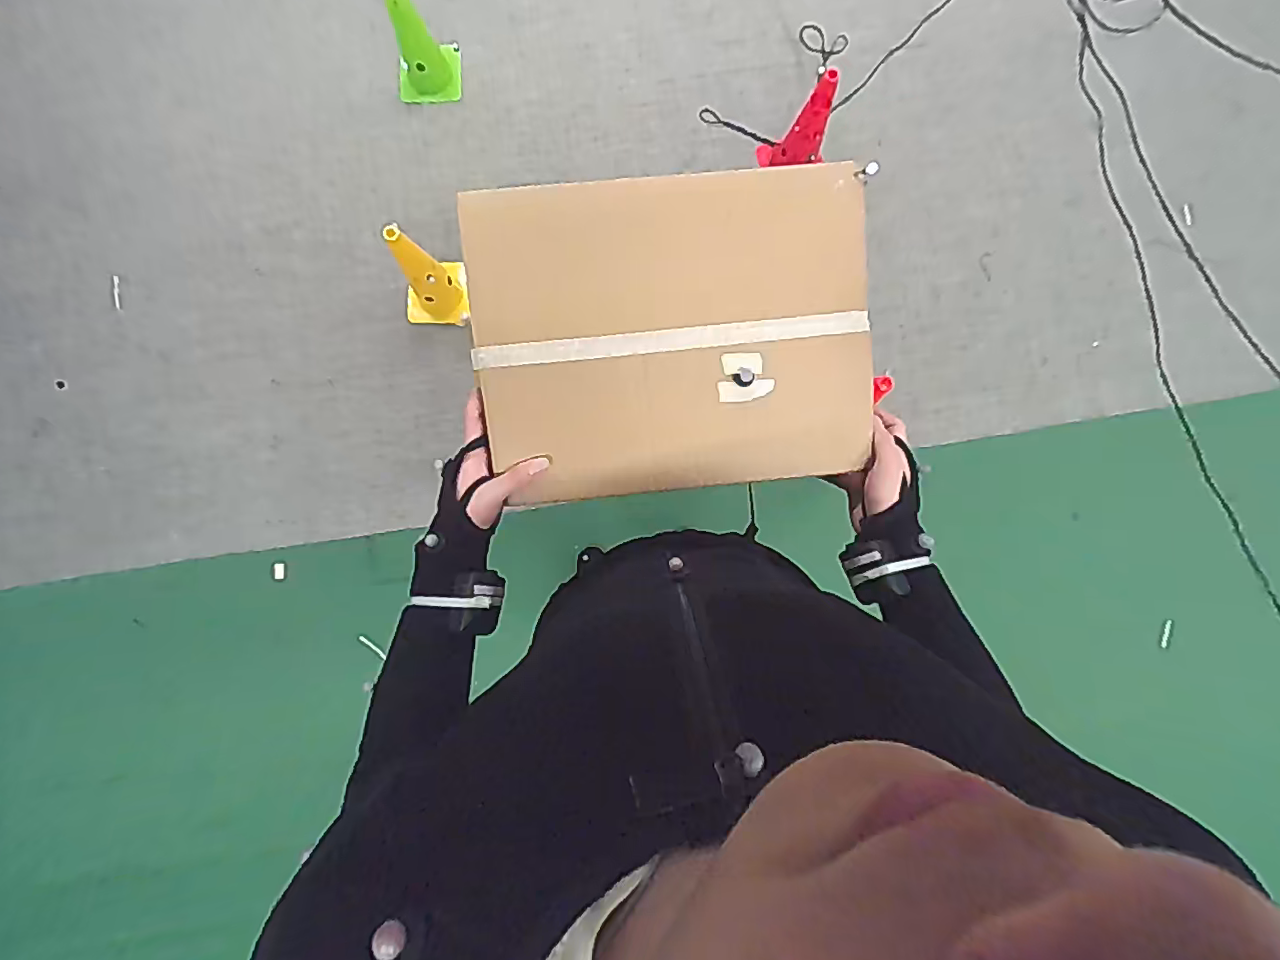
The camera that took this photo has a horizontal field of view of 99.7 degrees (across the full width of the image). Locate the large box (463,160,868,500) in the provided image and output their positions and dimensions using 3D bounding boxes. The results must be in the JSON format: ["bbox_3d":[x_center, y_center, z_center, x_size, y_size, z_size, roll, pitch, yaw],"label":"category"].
[{"bbox_3d":[0.027,-0.171,0.708,0.408,0.320,0.320,-6,99,-3],"label":"large box"}]

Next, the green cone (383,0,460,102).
[{"bbox_3d":[-0.692,-1.352,1.604,0.200,0.368,0.202,-3,86,0],"label":"green cone"}]
